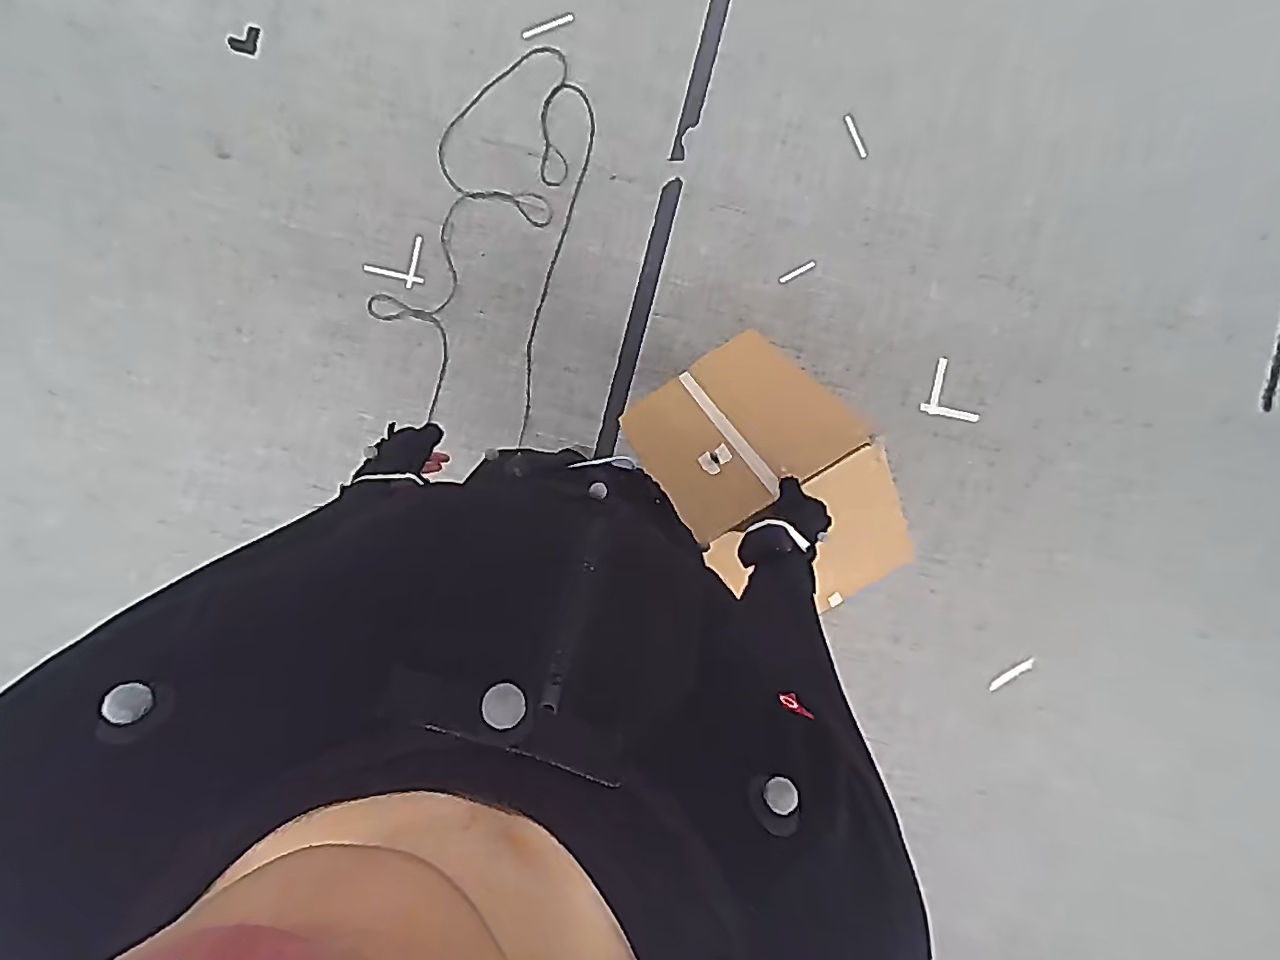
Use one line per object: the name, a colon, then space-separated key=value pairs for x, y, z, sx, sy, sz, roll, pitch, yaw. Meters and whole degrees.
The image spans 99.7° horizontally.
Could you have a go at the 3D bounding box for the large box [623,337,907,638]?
large box: x=0.218 y=0.004 z=1.009 sx=0.320 sy=0.408 sz=0.320 roll=-34 pitch=130 yaw=6
